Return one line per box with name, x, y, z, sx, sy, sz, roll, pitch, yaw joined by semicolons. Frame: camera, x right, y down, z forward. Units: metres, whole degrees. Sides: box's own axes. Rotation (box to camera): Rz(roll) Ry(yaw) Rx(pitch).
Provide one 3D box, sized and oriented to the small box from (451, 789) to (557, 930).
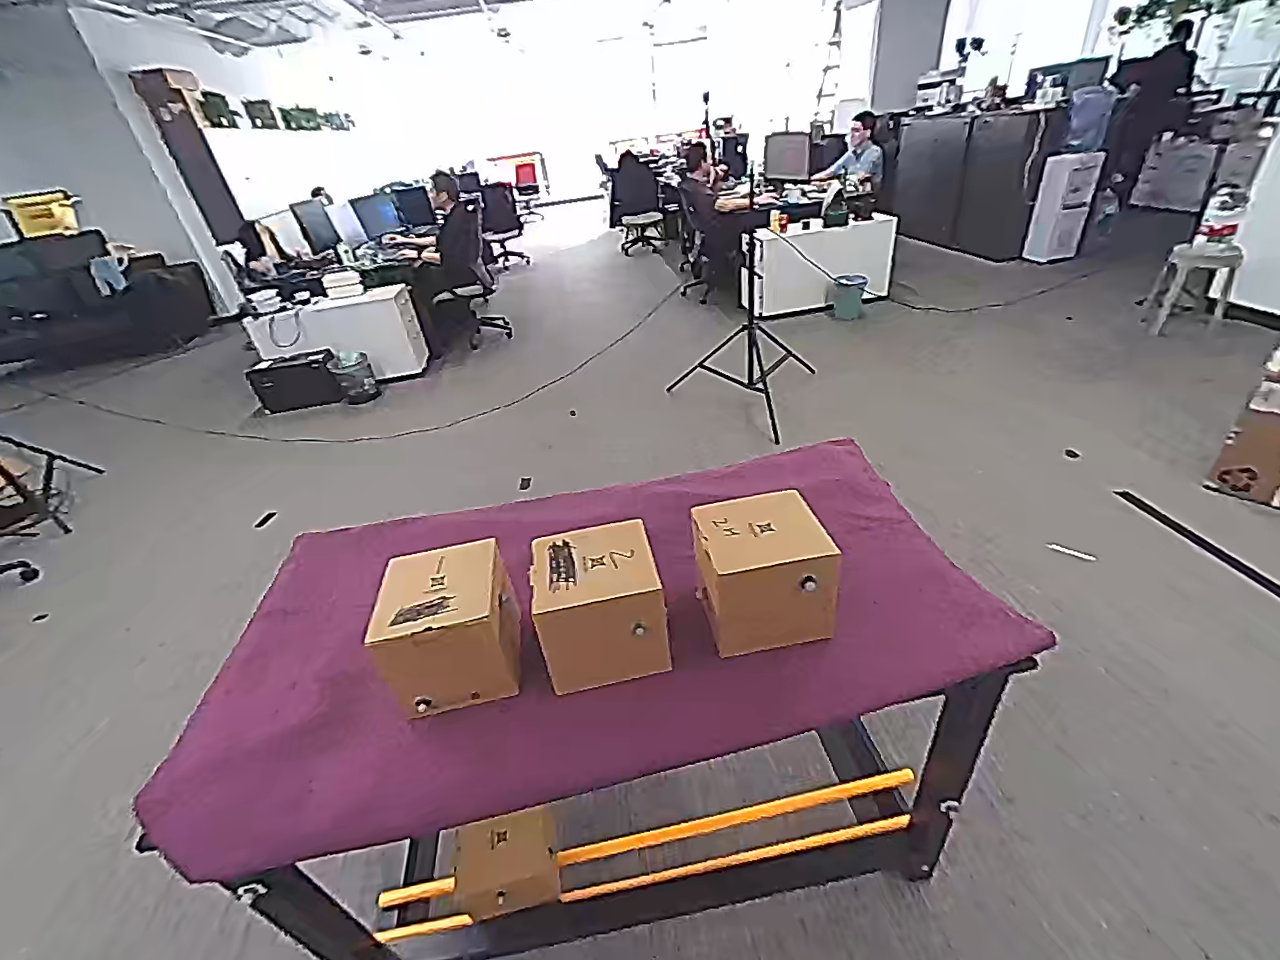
small box;-0.270;0.774;1.105;0.179;0.176;0.168;-13;35;-7
